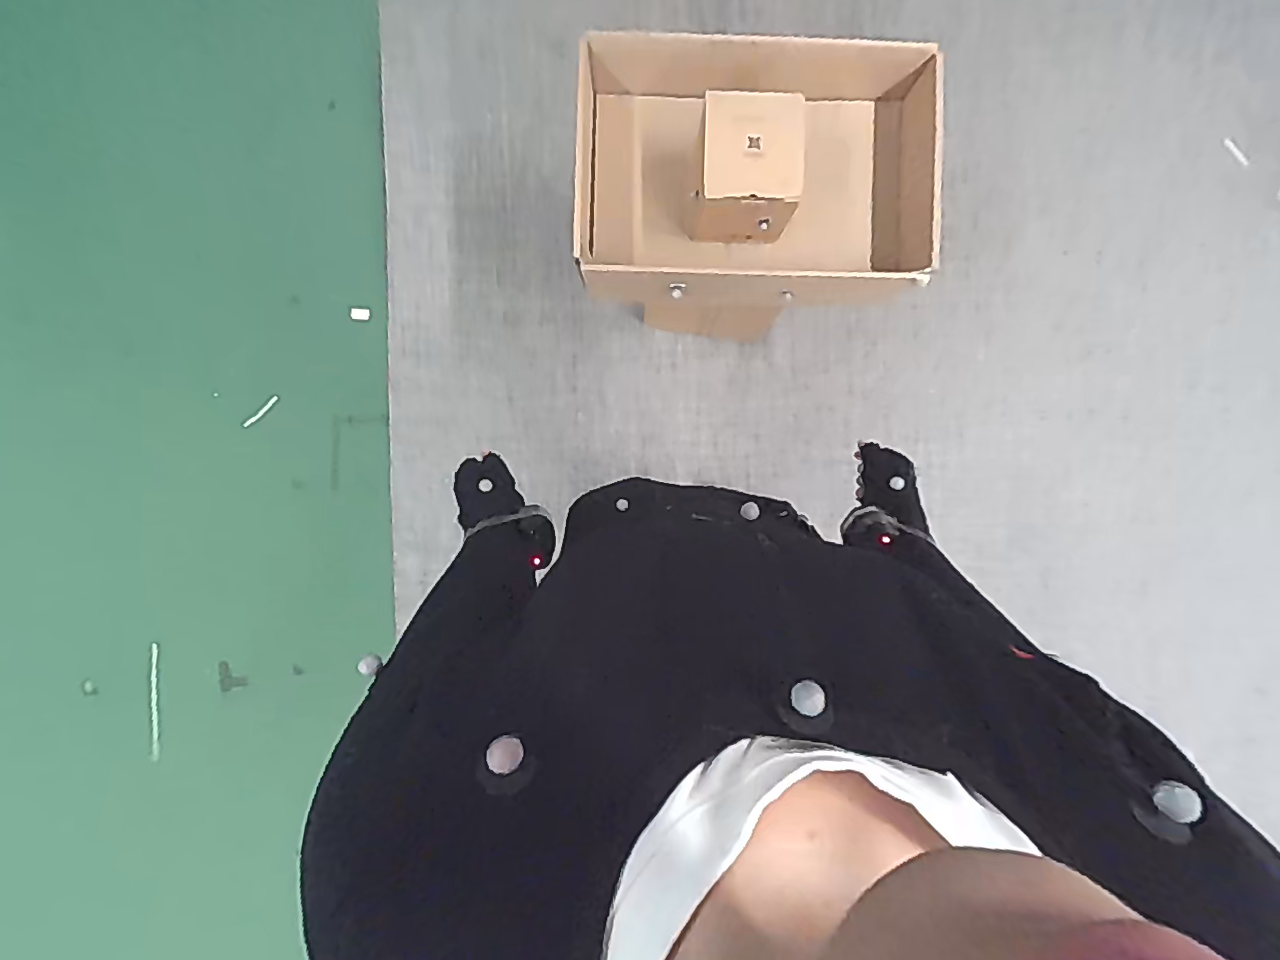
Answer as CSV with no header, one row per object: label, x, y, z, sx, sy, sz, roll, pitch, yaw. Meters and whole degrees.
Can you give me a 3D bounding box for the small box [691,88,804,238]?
small box,0.185,-0.552,0.963,0.168,0.176,0.179,0,88,-2
